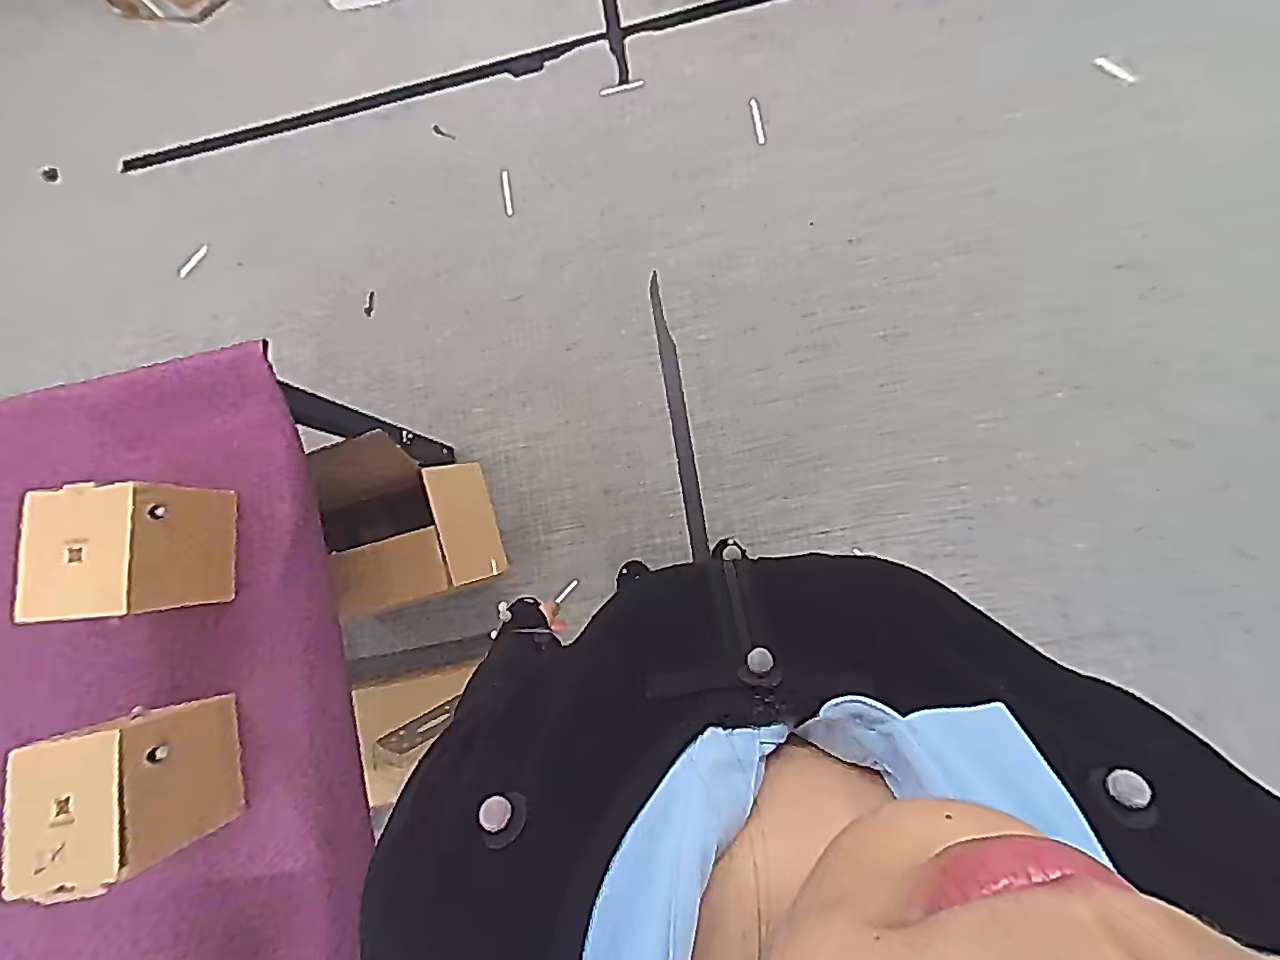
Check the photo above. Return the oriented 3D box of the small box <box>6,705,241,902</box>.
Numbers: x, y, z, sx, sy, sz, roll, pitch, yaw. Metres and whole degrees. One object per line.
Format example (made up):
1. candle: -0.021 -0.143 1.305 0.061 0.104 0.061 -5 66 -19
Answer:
1. small box: -0.691 0.423 0.739 0.168 0.176 0.179 -13 81 7

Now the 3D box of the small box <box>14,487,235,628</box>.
1. small box: -0.732 0.111 0.786 0.168 0.176 0.179 -6 82 5
